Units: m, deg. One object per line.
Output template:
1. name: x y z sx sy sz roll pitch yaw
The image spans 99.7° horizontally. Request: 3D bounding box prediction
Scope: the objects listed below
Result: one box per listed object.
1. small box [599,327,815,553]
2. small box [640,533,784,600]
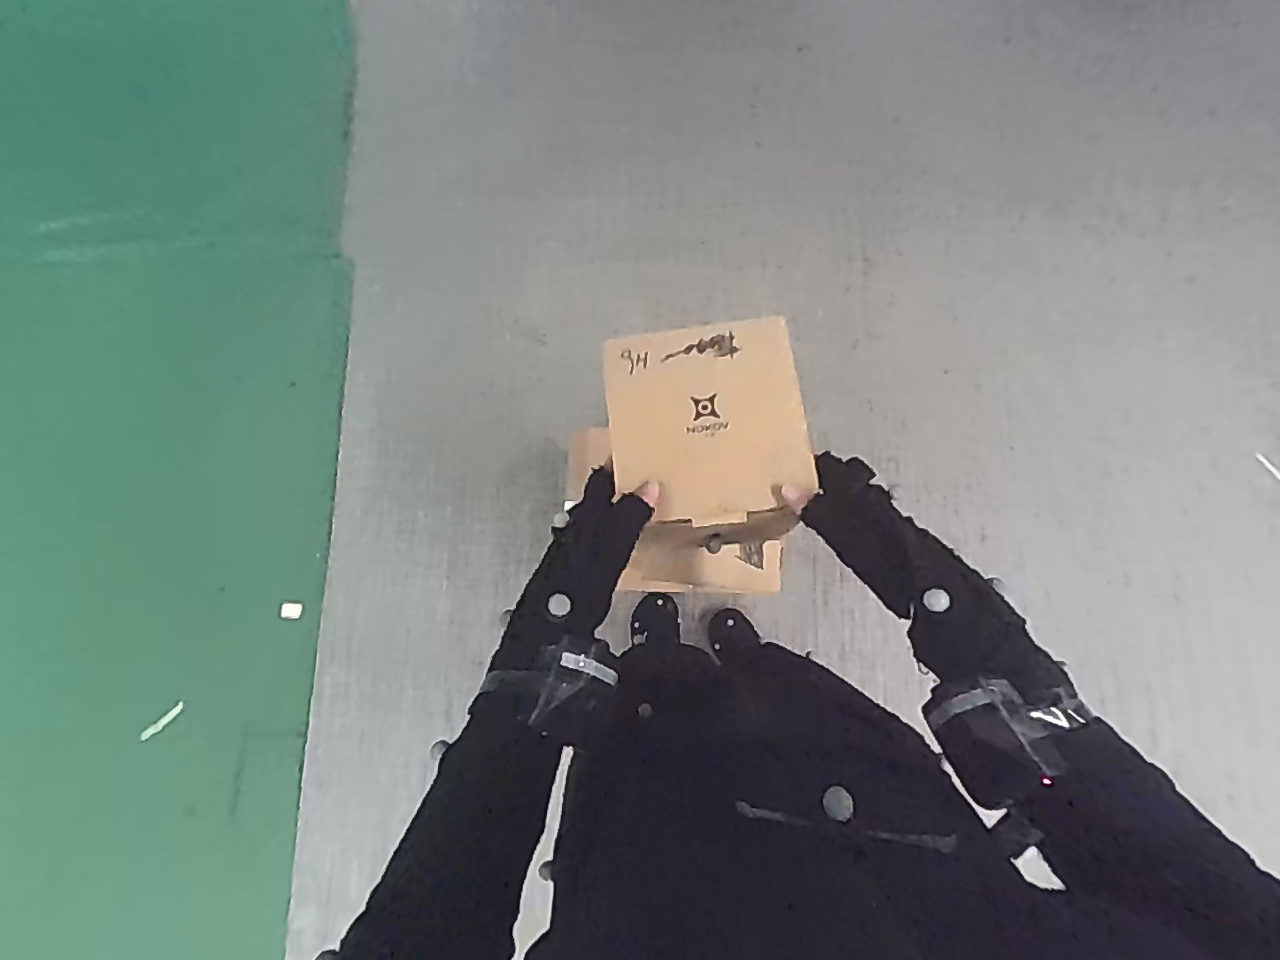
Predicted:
1. small box: 0.059 -0.024 0.534 0.168 0.176 0.179 -7 77 2
2. small box: 0.098 0.069 0.766 0.179 0.176 0.168 6 83 3
